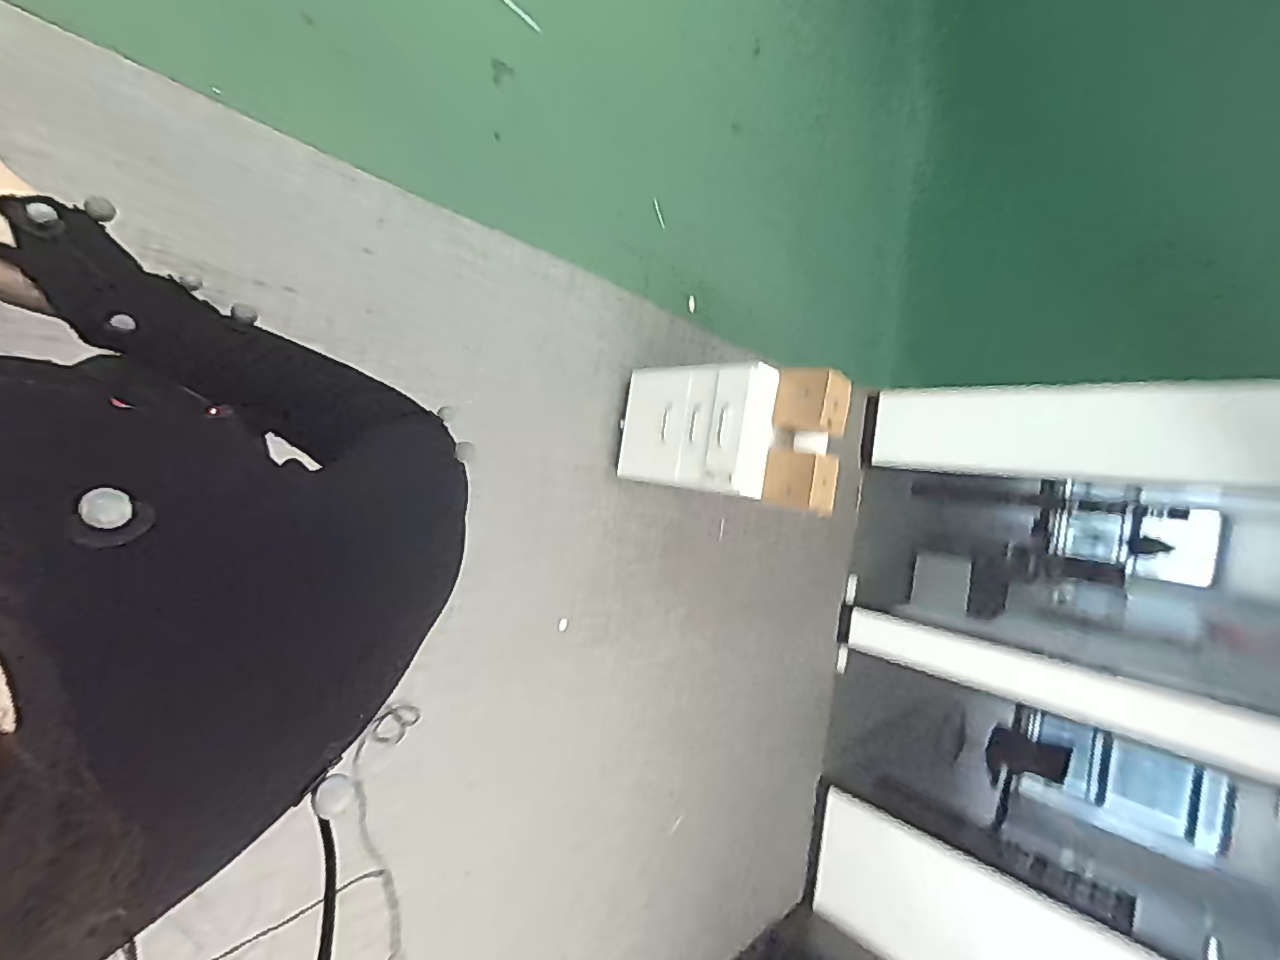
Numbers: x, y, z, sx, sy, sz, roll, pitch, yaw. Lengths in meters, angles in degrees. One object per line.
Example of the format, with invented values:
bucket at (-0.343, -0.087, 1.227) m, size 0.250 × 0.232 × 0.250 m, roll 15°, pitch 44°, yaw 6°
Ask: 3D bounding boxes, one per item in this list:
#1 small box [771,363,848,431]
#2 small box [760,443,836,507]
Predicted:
small box at (0.534, -0.260, 1.713) m, size 0.168 × 0.176 × 0.179 m, roll 11°, pitch 89°, yaw -45°
small box at (0.497, -0.017, 1.714) m, size 0.168 × 0.176 × 0.179 m, roll 9°, pitch 87°, yaw -47°
